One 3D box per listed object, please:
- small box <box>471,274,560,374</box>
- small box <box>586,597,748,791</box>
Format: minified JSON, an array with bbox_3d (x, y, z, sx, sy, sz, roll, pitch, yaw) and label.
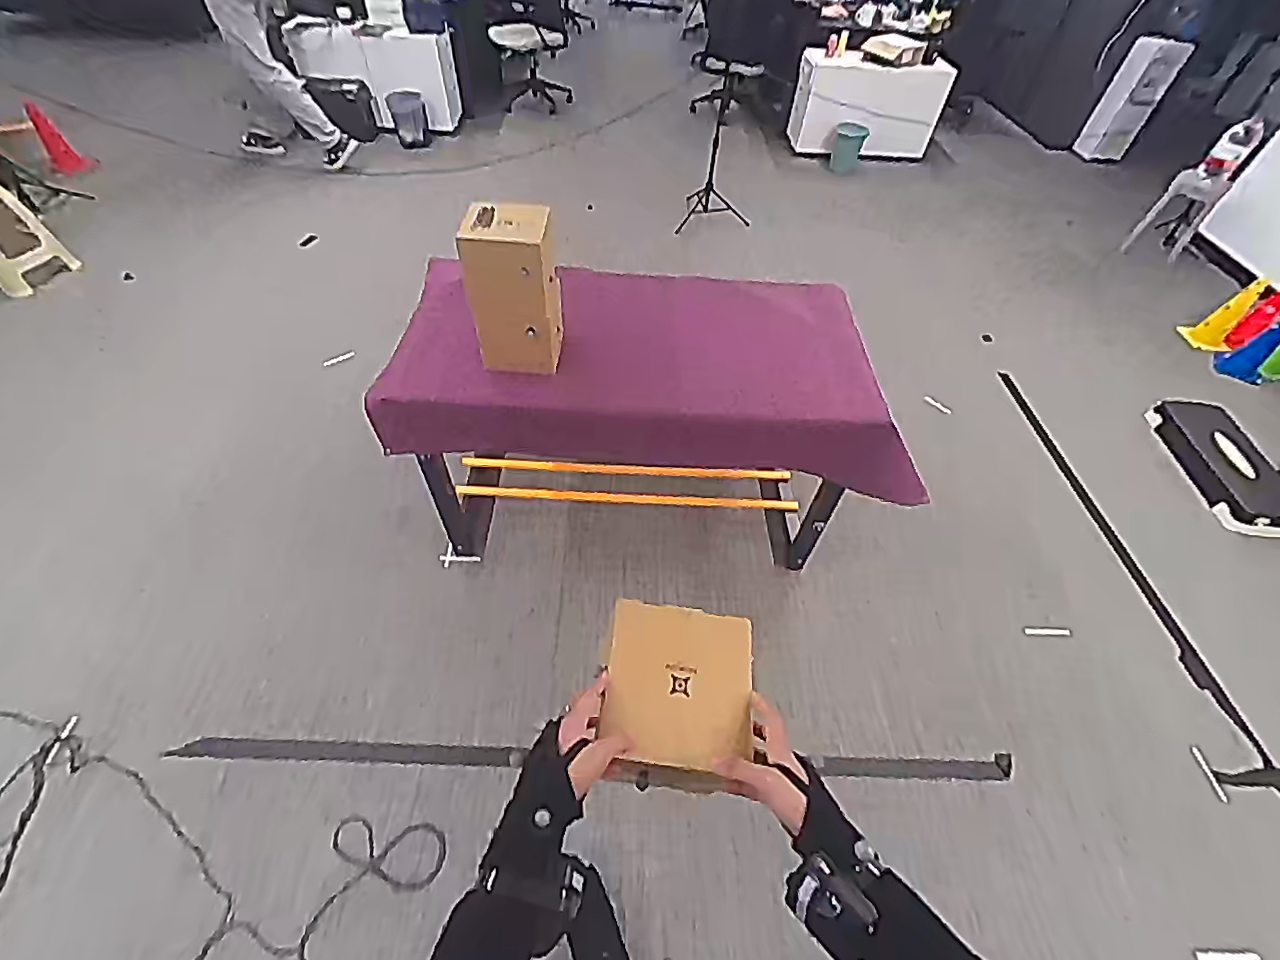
[{"bbox_3d":[-0.291,-0.375,1.315,0.179,0.176,0.168,4,50,-1],"label":"small box"},{"bbox_3d":[0.028,0.267,0.662,0.168,0.176,0.179,9,52,-4],"label":"small box"}]
